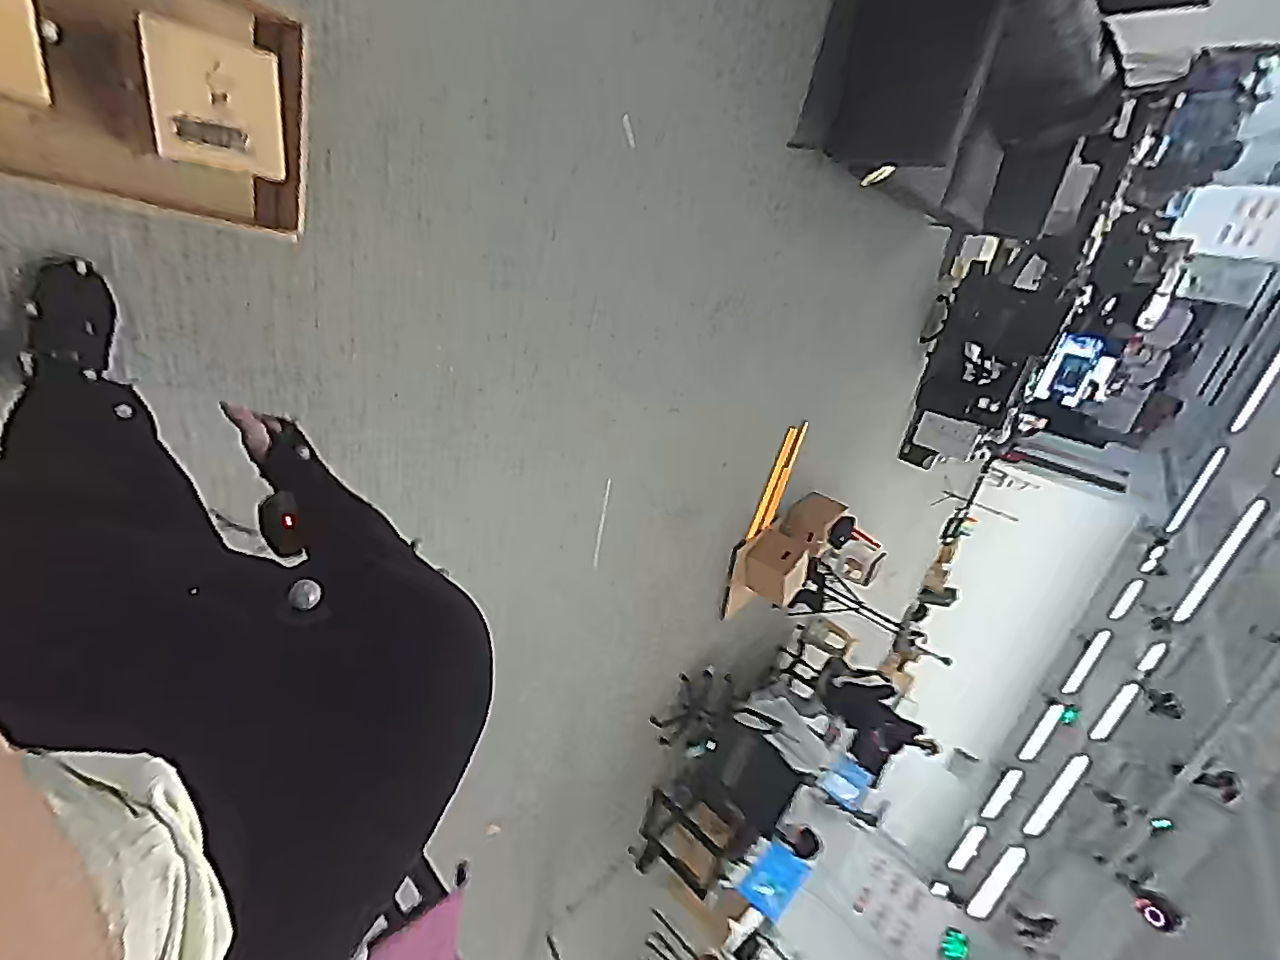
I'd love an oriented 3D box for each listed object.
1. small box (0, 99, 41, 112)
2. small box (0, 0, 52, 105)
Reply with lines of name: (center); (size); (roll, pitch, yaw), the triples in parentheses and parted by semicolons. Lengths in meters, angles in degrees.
small box: (-0.874, -0.581, 0.662); (0.168, 0.176, 0.179); (-11, 119, -46)
small box: (-0.757, -0.521, 0.565); (0.168, 0.176, 0.179); (-13, 122, -46)
